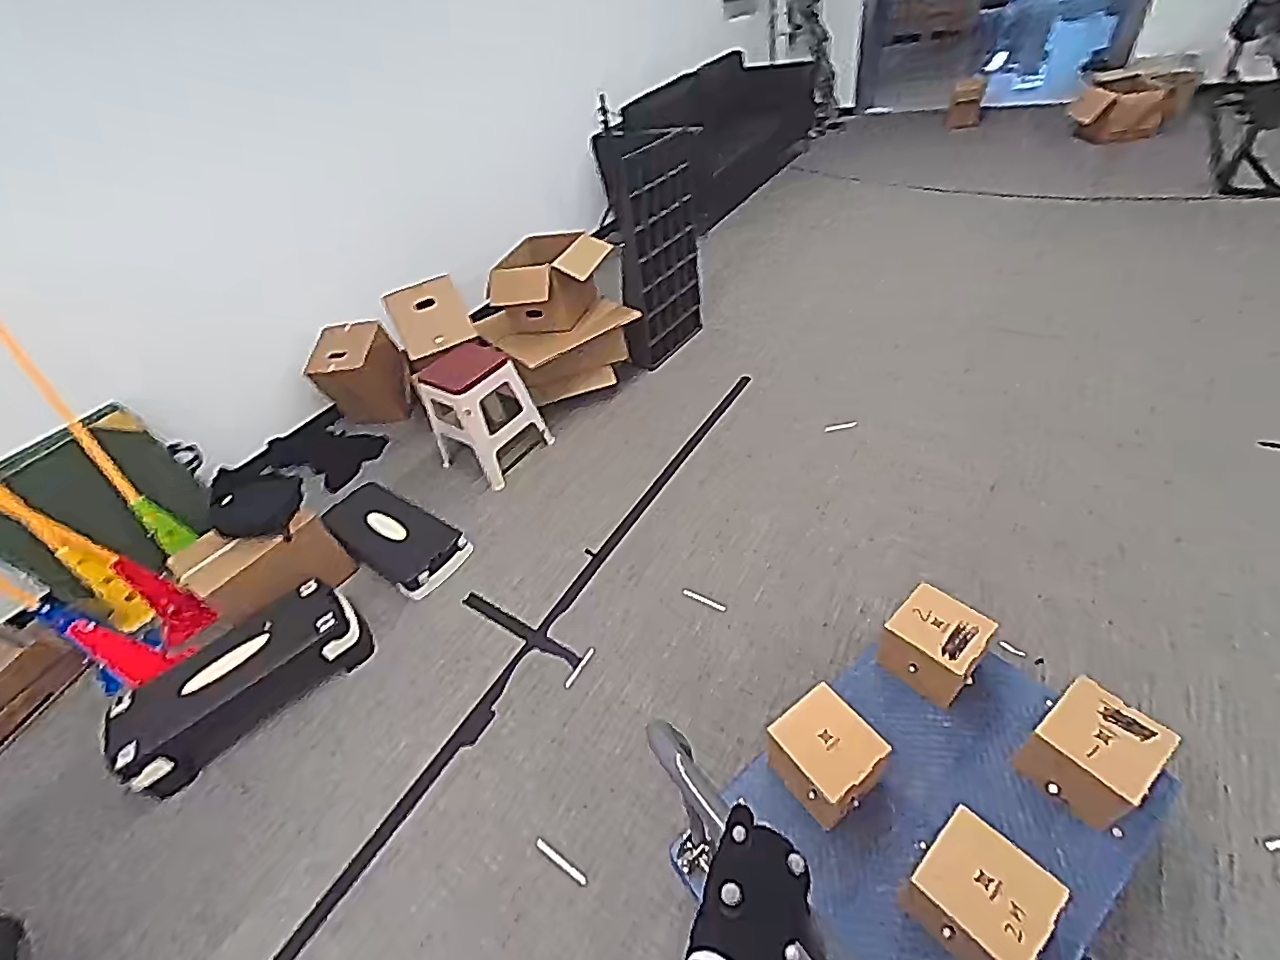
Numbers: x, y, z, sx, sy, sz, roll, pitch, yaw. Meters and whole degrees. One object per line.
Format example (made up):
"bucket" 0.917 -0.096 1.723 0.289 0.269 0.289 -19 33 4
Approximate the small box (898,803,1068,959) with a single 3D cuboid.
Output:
"small box" 0.572 0.709 0.926 0.168 0.176 0.179 -35 47 -23

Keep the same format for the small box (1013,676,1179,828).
"small box" 0.870 0.528 1.051 0.179 0.176 0.168 -33 46 -19

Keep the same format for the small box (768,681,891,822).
"small box" 0.381 0.565 1.124 0.168 0.176 0.179 -30 47 -19
